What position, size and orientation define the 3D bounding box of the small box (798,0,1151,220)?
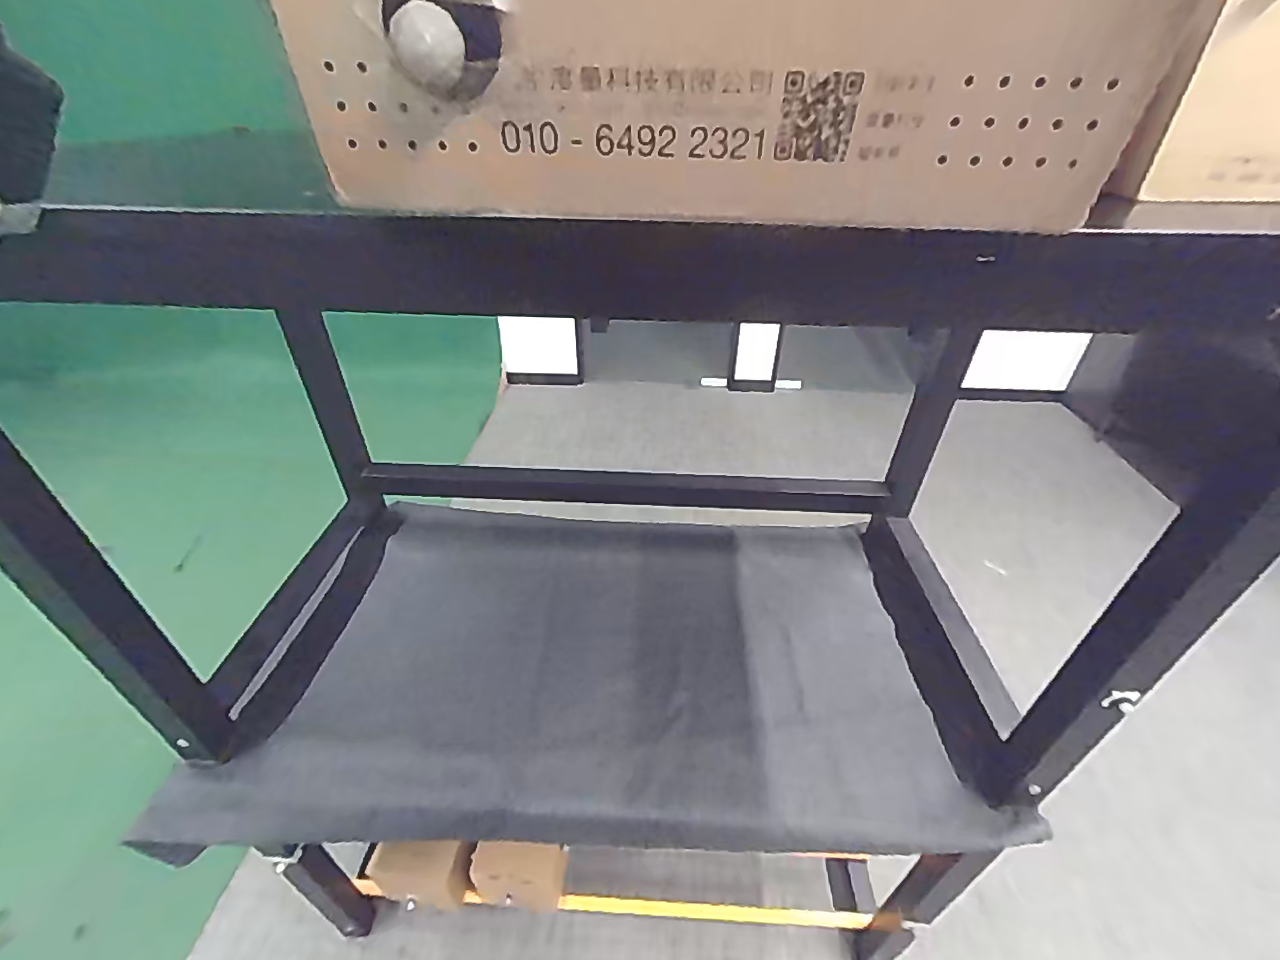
[{"bbox_3d":[0.230,-0.310,0.418,0.168,0.176,0.179,1,35,2],"label":"small box"}]
